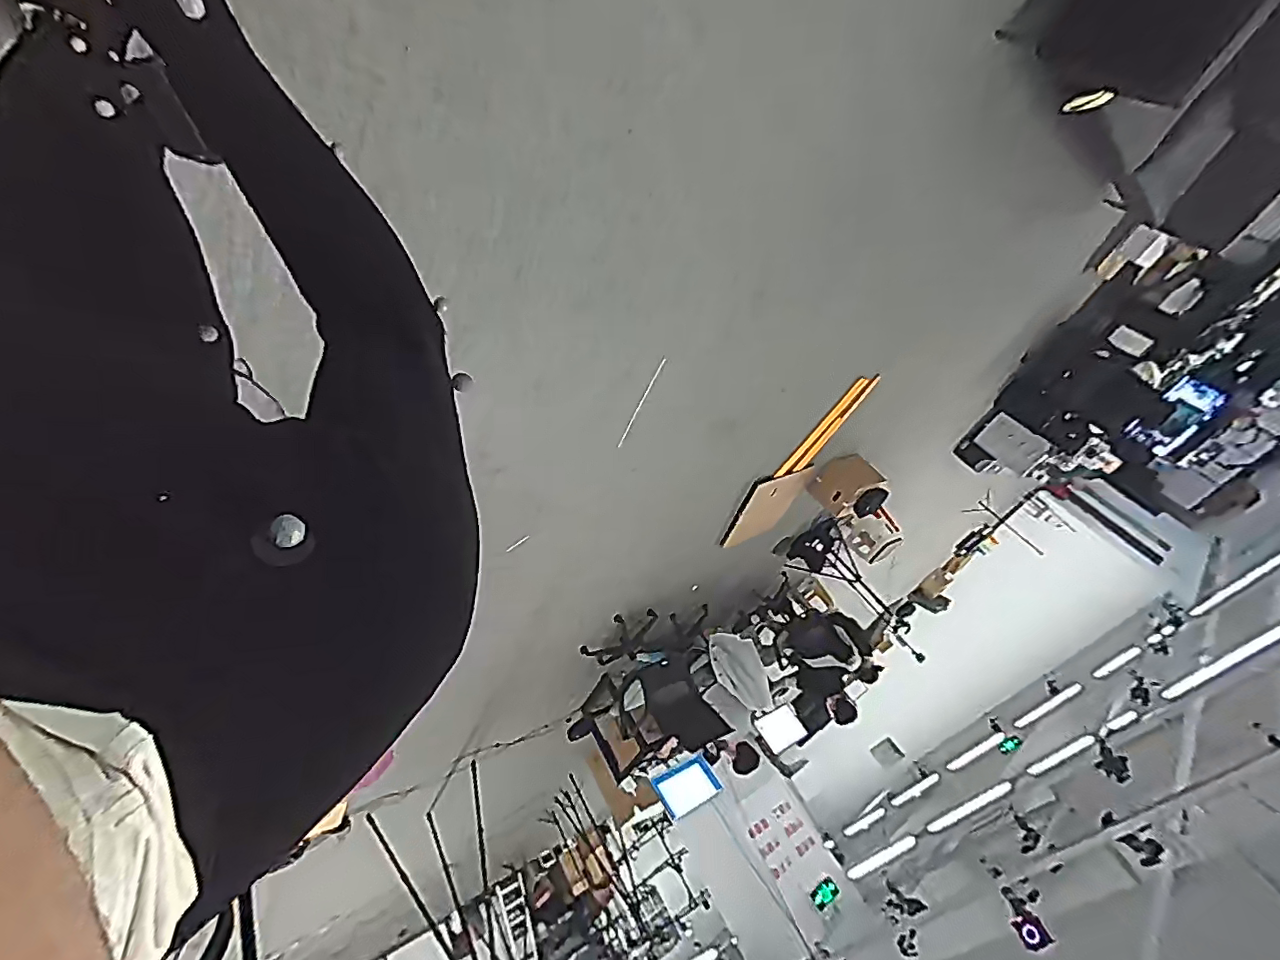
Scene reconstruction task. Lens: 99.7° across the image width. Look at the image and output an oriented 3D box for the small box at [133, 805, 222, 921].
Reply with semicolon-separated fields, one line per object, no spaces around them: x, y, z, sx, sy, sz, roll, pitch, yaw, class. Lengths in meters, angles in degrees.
-1.204;0.988;1.410;0.168;0.176;0.179;-4;136;-41;small box
